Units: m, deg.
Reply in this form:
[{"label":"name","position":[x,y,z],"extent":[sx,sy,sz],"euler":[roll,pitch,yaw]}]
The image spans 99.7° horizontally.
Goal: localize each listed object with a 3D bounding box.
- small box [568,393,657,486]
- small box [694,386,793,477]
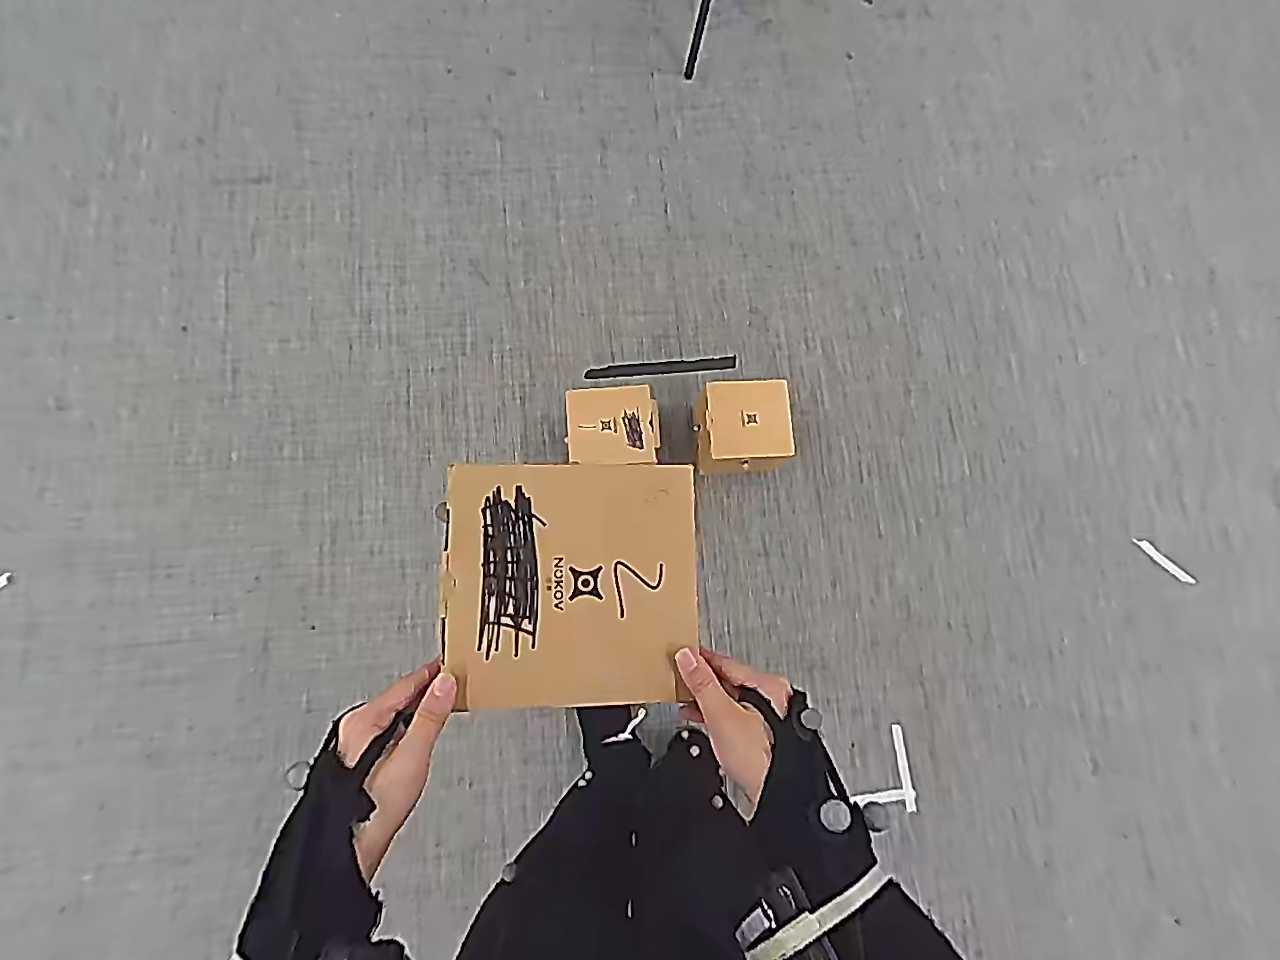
[{"label":"small box","position":[-0.061,-0.083,1.182],"extent":[0.179,0.176,0.168],"euler":[-4,80,-2]},{"label":"small box","position":[0.223,-0.102,1.199],"extent":[0.179,0.176,0.168],"euler":[-3,80,-2]}]
